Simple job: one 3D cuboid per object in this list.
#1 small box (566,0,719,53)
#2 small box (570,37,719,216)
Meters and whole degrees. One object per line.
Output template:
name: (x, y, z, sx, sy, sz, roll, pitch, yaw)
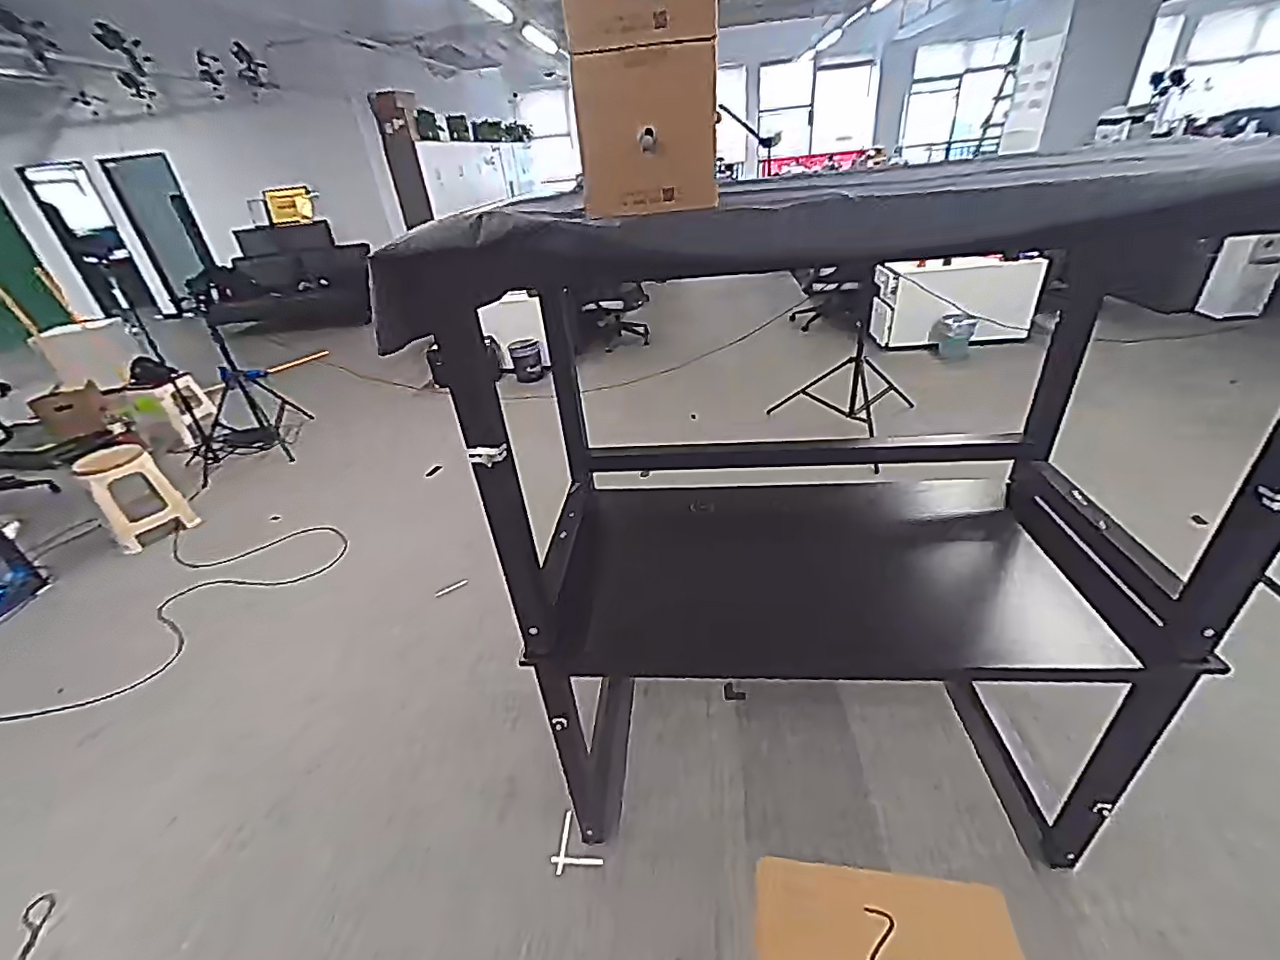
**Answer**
small box: (0.001, -0.587, 0.619, 0.168, 0.176, 0.179, -4, 30, 4)
small box: (0.012, -0.443, 0.699, 0.168, 0.176, 0.179, -3, 30, 3)
